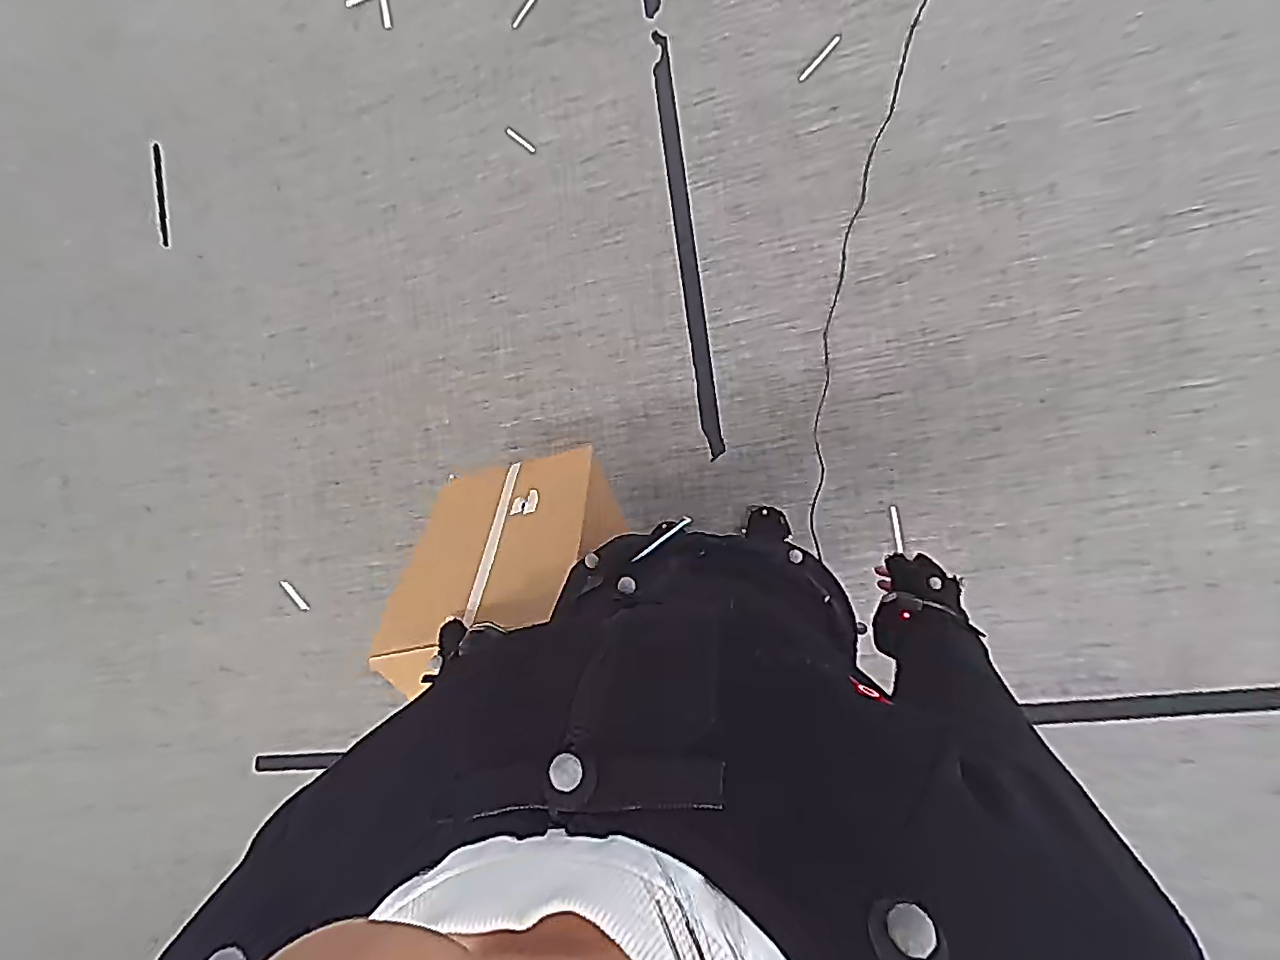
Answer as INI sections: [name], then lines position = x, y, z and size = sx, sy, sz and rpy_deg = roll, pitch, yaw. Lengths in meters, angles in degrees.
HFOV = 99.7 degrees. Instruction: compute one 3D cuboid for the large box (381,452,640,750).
[large box]
position = -0.189, 0.213, 0.994
size = 0.320, 0.408, 0.320
rpy_deg = -12, 127, 10
